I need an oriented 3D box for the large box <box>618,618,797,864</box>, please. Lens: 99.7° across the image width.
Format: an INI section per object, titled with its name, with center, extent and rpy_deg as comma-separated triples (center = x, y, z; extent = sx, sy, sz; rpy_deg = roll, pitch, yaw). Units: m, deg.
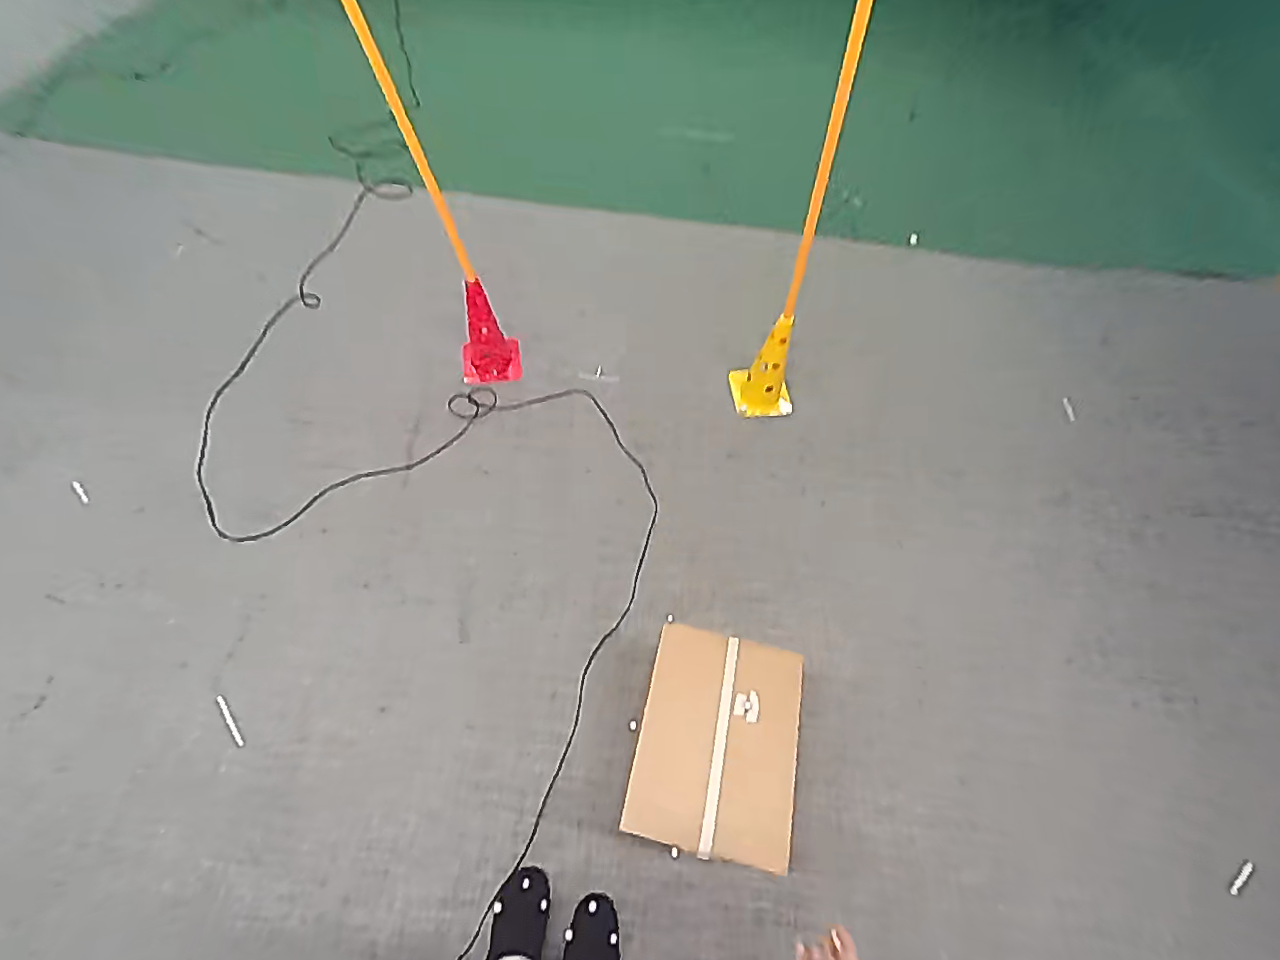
[large box]
center = 0.144, 0.581, 1.213
extent = 0.320, 0.320, 0.408
rpy_deg = 14, 58, 4
